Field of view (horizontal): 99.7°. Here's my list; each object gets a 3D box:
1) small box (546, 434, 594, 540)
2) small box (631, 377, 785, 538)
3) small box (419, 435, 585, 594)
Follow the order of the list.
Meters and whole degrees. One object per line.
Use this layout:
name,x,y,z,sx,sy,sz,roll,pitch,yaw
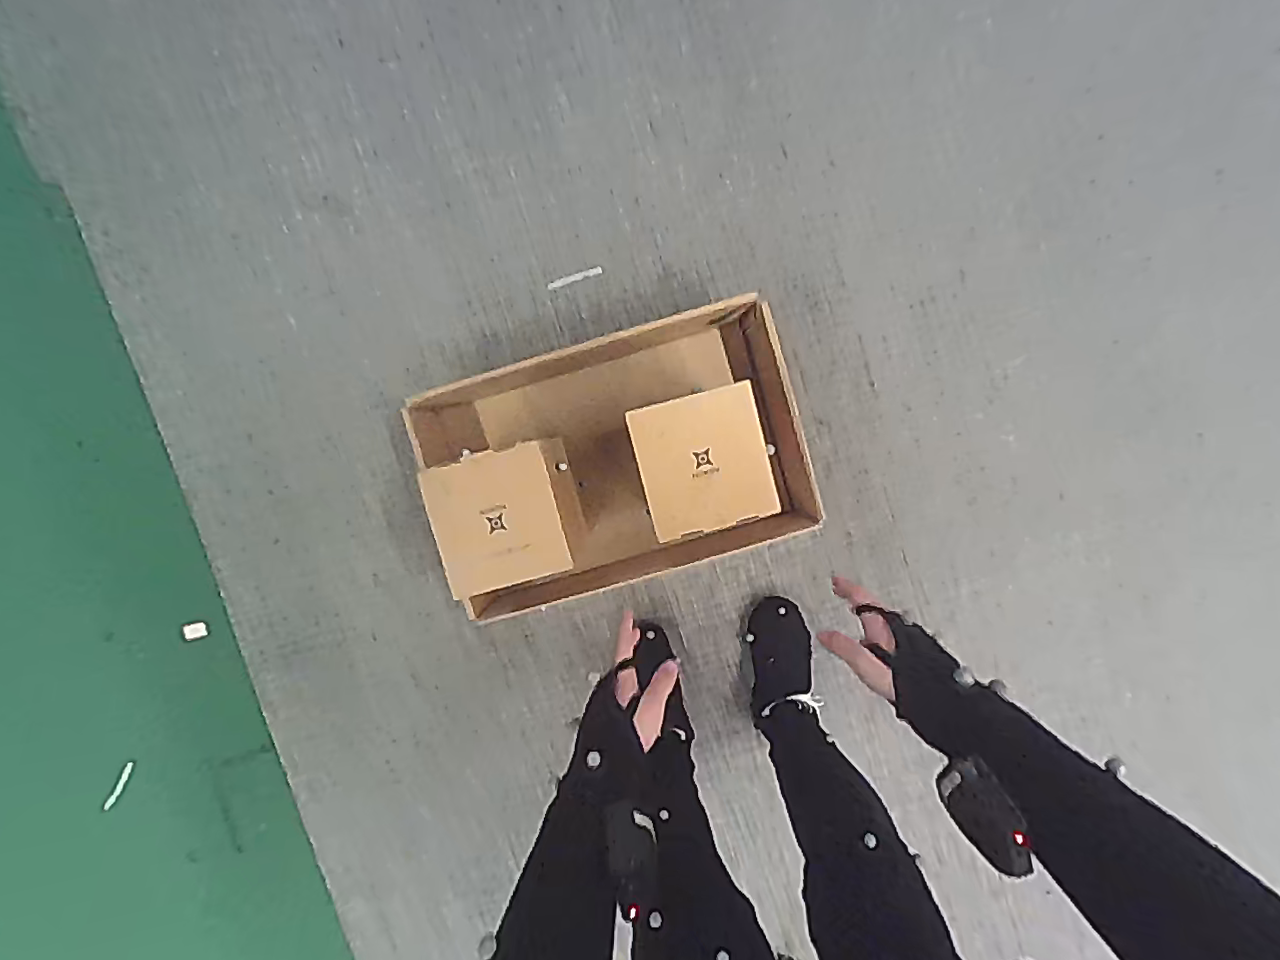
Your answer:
small box,-0.183,0.026,0.929,0.168,0.176,0.179,-14,93,2
small box,0.085,-0.033,0.761,0.168,0.176,0.179,-14,95,2
small box,-0.183,0.040,0.766,0.168,0.176,0.179,-14,95,1
